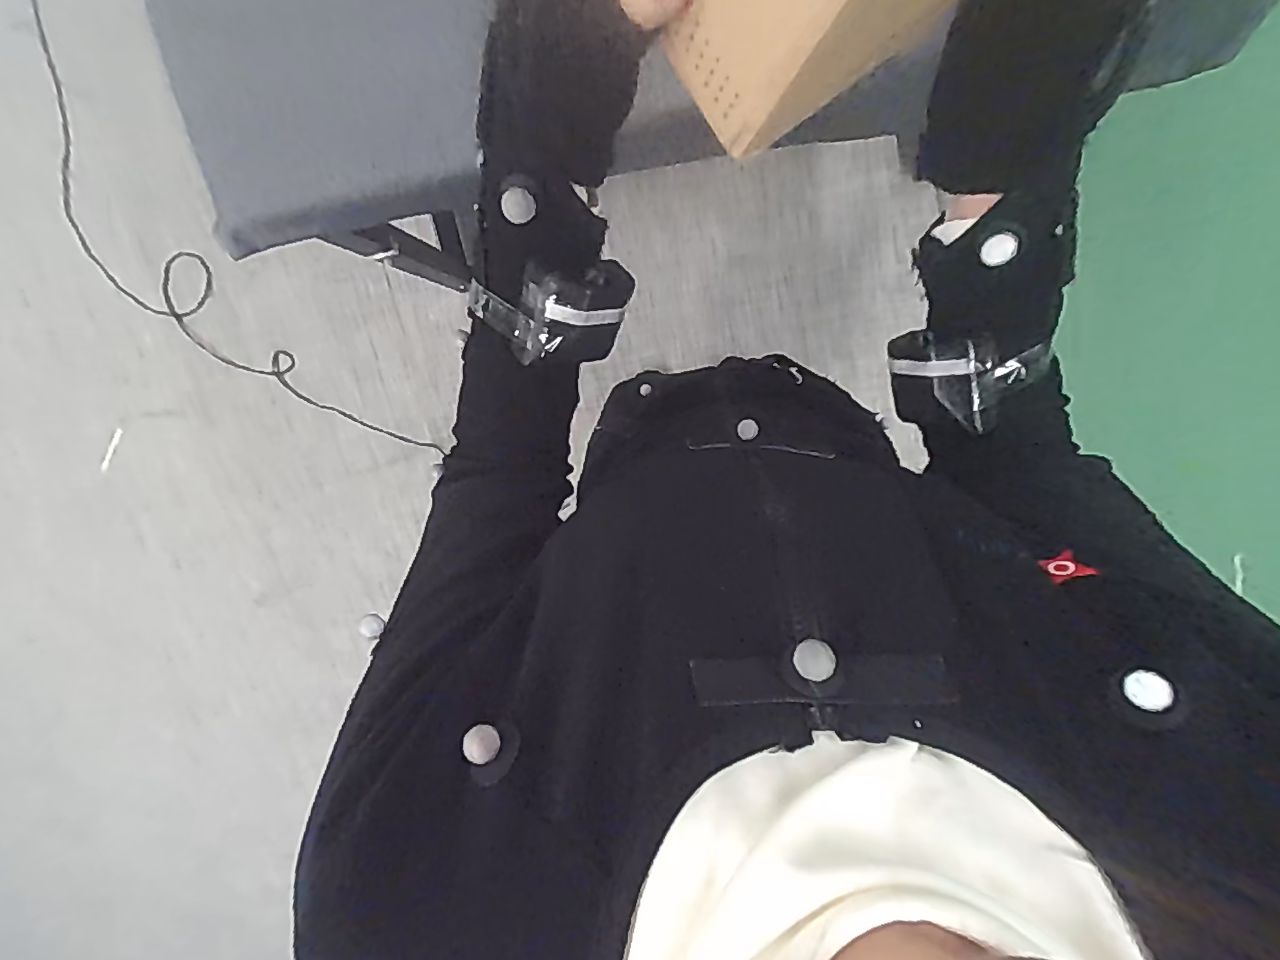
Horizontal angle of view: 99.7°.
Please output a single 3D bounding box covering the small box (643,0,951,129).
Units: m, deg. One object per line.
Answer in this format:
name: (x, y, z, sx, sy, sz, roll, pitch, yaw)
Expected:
small box: (0.062, -0.240, 0.128, 0.168, 0.176, 0.179, -37, 100, -2)
